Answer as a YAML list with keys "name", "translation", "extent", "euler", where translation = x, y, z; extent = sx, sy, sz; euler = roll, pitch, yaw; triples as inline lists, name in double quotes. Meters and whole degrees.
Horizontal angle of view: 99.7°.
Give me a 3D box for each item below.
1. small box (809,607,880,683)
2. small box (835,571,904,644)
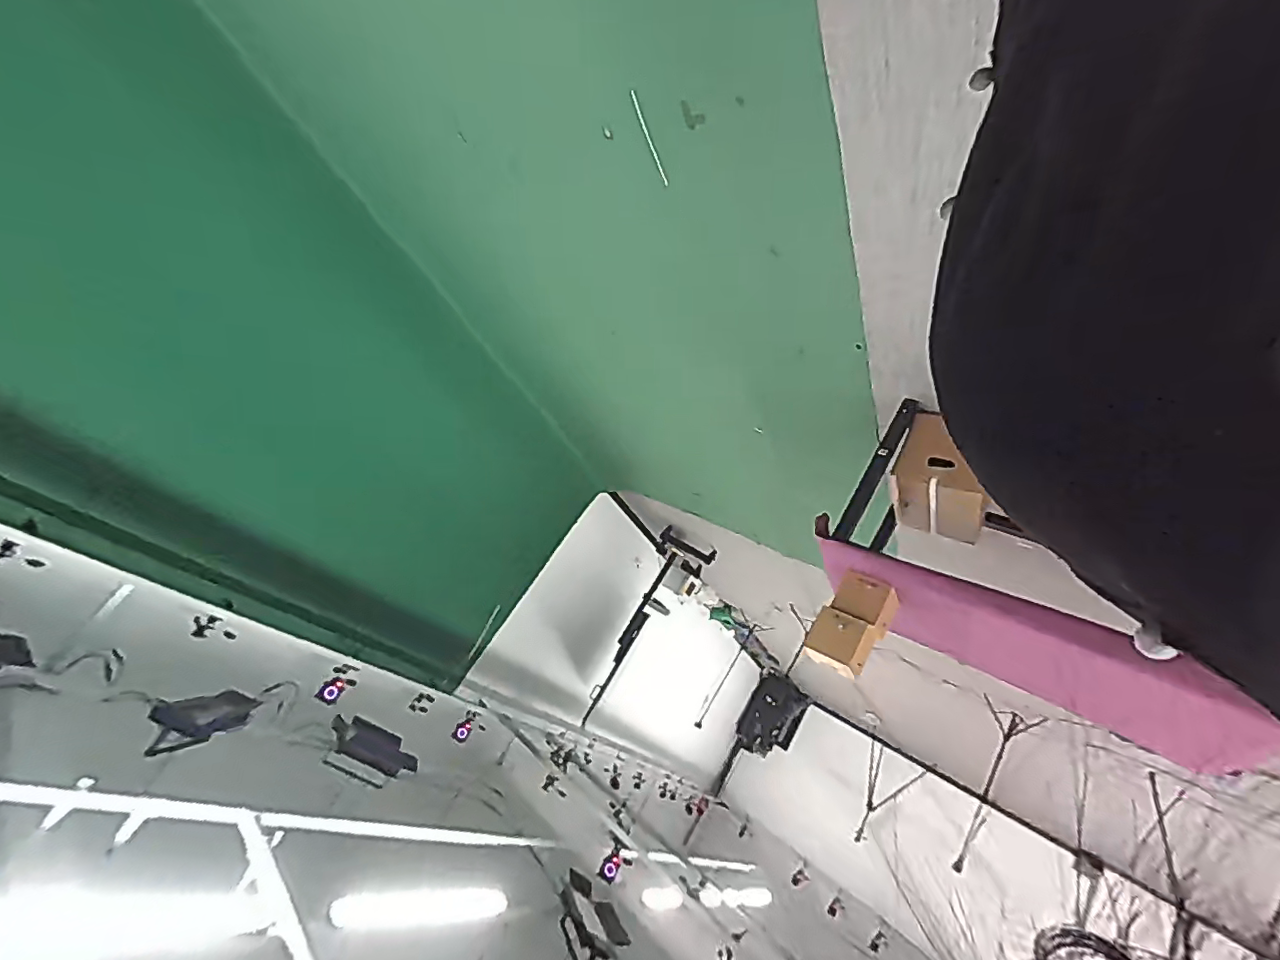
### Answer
- name: "small box"
  translation: [0.718, 0.574, 1.885]
  extent: [0.168, 0.176, 0.179]
  euler: [18, 158, 40]
- name: "small box"
  translation: [0.823, 0.453, 1.929]
  extent: [0.168, 0.176, 0.179]
  euler: [18, 158, 40]
